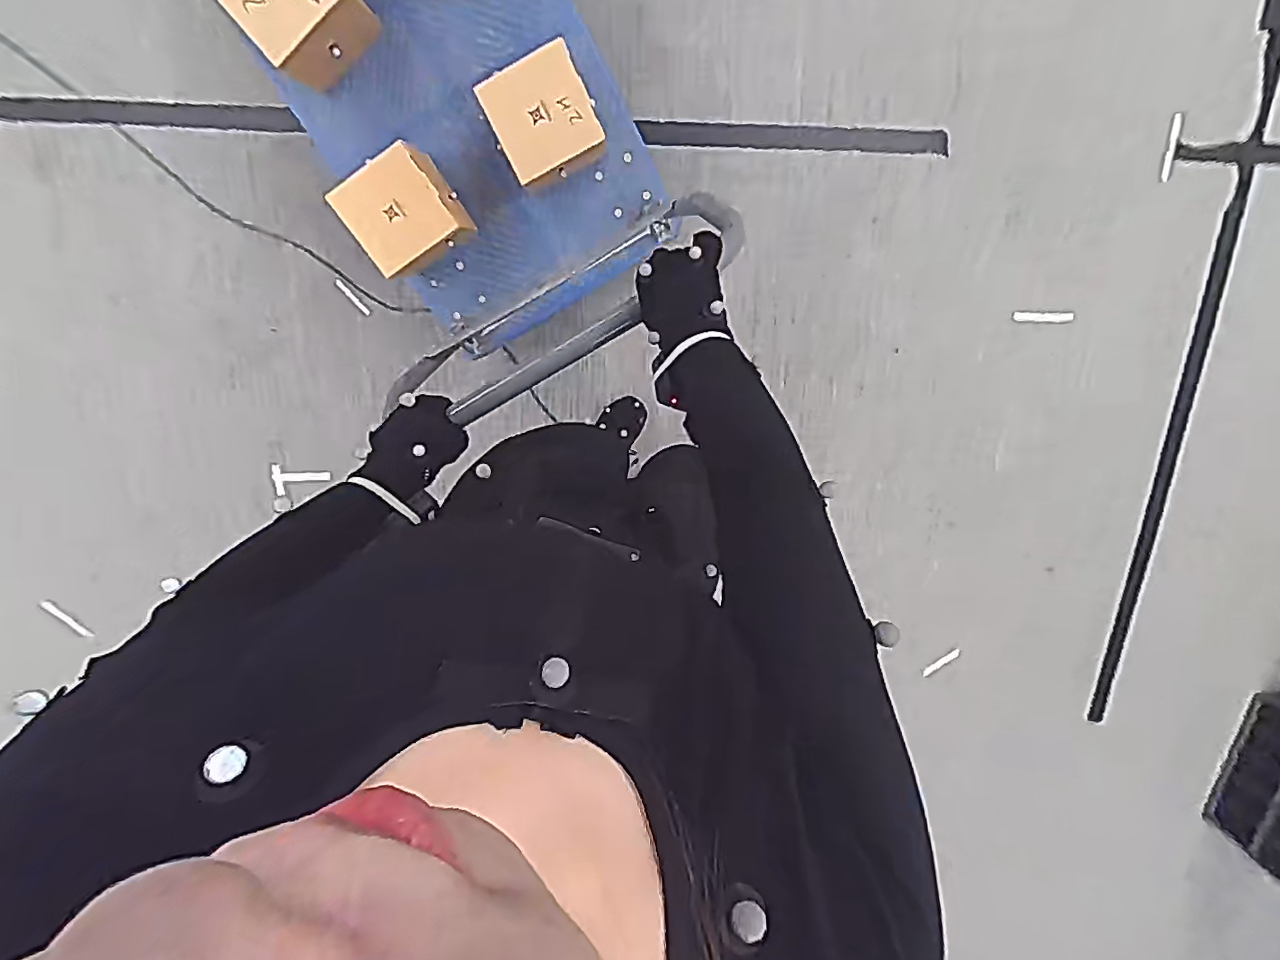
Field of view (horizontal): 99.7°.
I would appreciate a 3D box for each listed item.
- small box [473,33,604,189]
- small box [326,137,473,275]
[{"bbox_3d":[-0.177,-0.669,1.007,0.179,0.176,0.168,-25,112,6],"label":"small box"},{"bbox_3d":[-0.452,-0.518,1.051,0.179,0.176,0.168,-32,111,8],"label":"small box"}]
